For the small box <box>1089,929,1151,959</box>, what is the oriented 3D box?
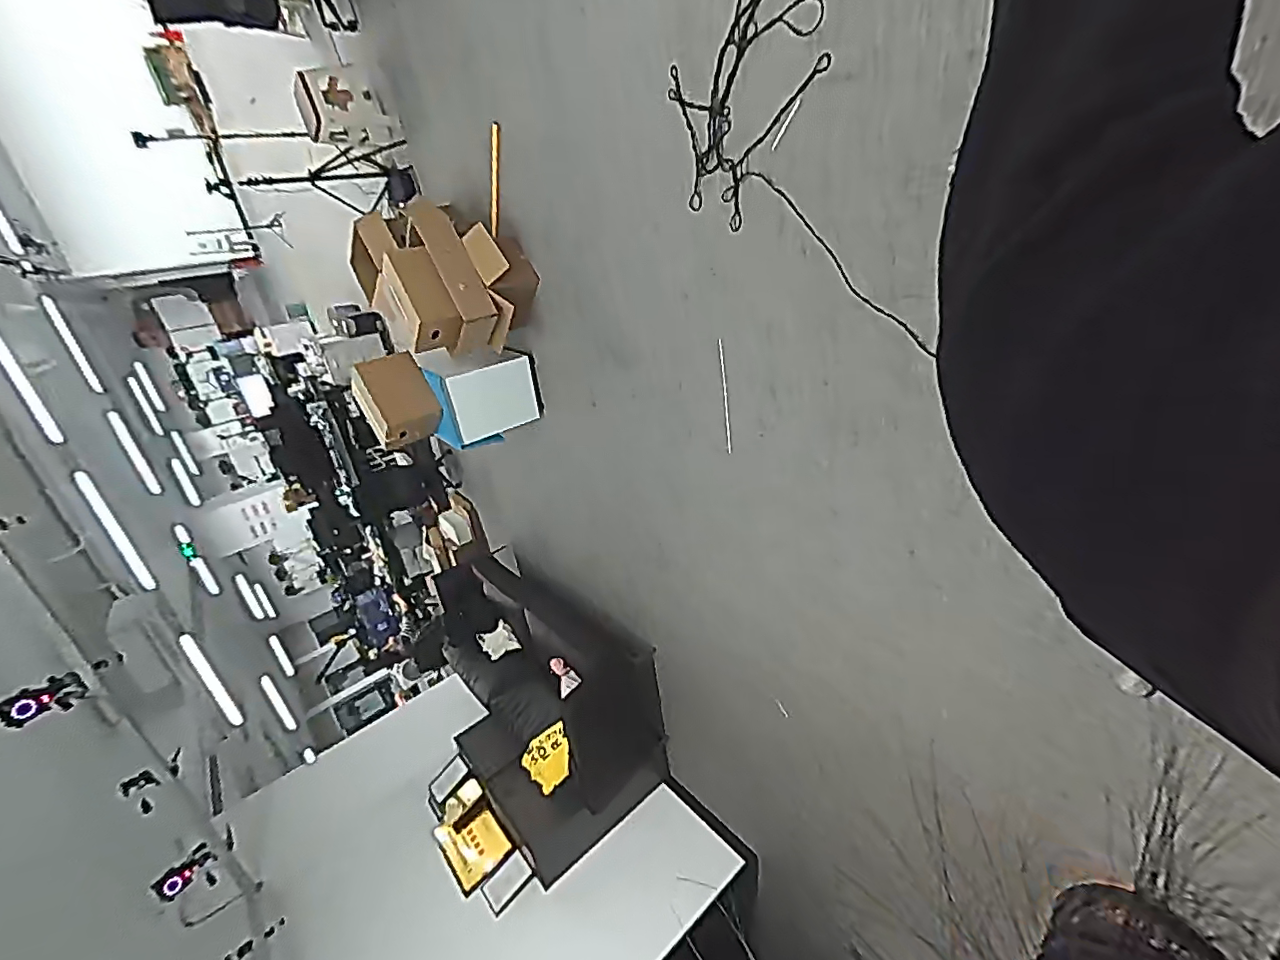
[{"bbox_3d":[1.325,1.396,1.475,0.168,0.176,0.179,19,126,49],"label":"small box"}]
